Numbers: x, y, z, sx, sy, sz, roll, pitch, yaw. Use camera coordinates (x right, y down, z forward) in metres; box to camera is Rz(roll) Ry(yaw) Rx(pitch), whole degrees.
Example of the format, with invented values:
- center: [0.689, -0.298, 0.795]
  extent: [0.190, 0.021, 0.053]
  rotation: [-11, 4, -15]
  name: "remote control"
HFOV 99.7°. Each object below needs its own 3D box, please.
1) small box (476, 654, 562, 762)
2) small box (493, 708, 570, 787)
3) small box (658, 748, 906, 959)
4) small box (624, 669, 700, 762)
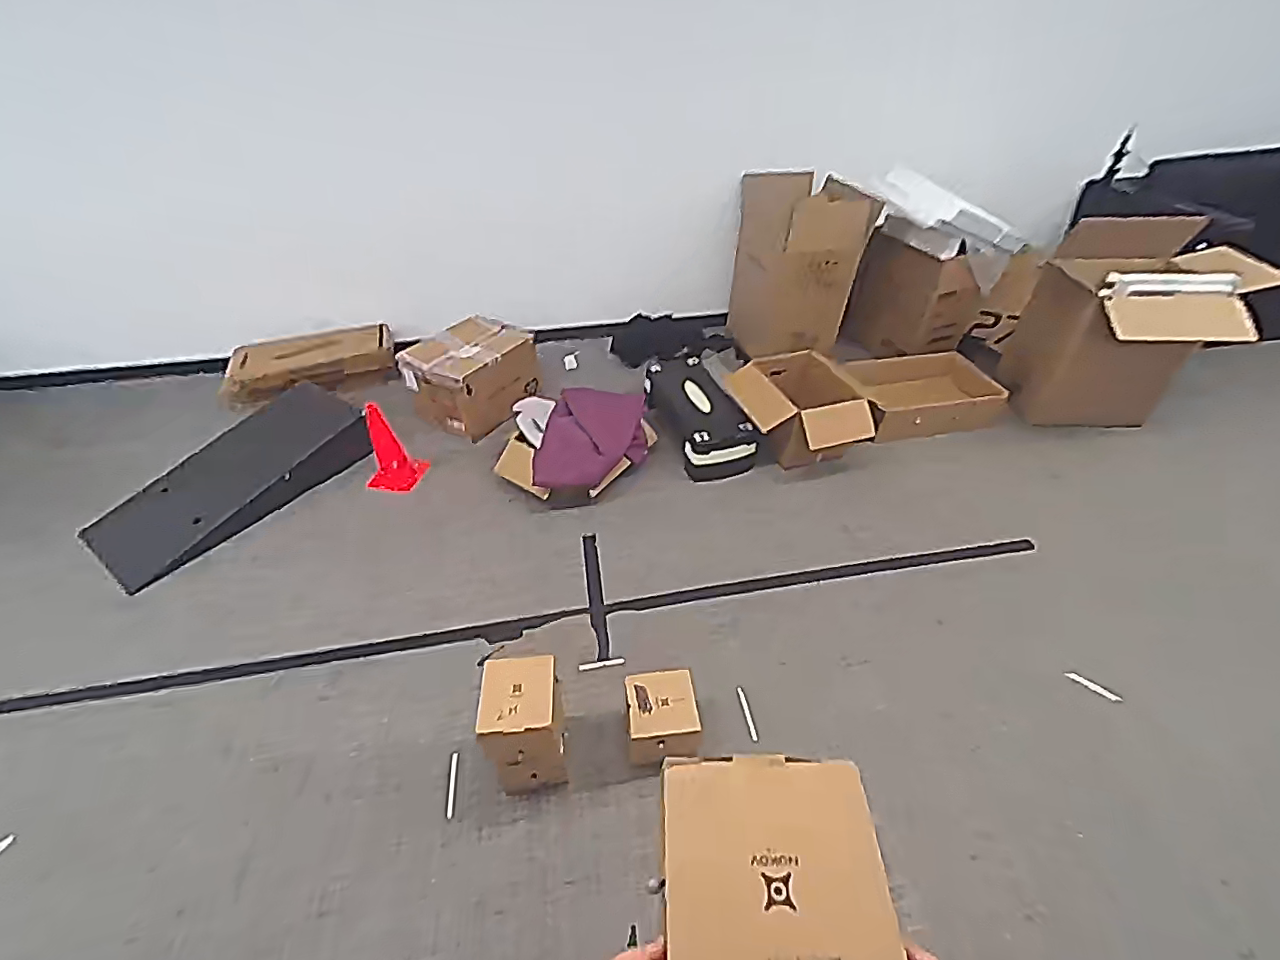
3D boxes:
- center: [-0.276, 0.538, 1.277]
  extent: [0.168, 0.176, 0.179]
  rotation: [-4, 42, -3]
  name: "small box"
- center: [-0.275, 0.664, 1.385]
  extent: [0.168, 0.176, 0.179]
  rotation: [-8, 43, -7]
  name: "small box"
- center: [0.100, 0.350, 0.460]
  extent: [0.168, 0.176, 0.179]
  rotation: [0, 46, 0]
  name: "small box"
- center: [0.054, 0.624, 1.428]
  extent: [0.179, 0.176, 0.168]
  rotation: [-4, 42, -5]
  name: "small box"
